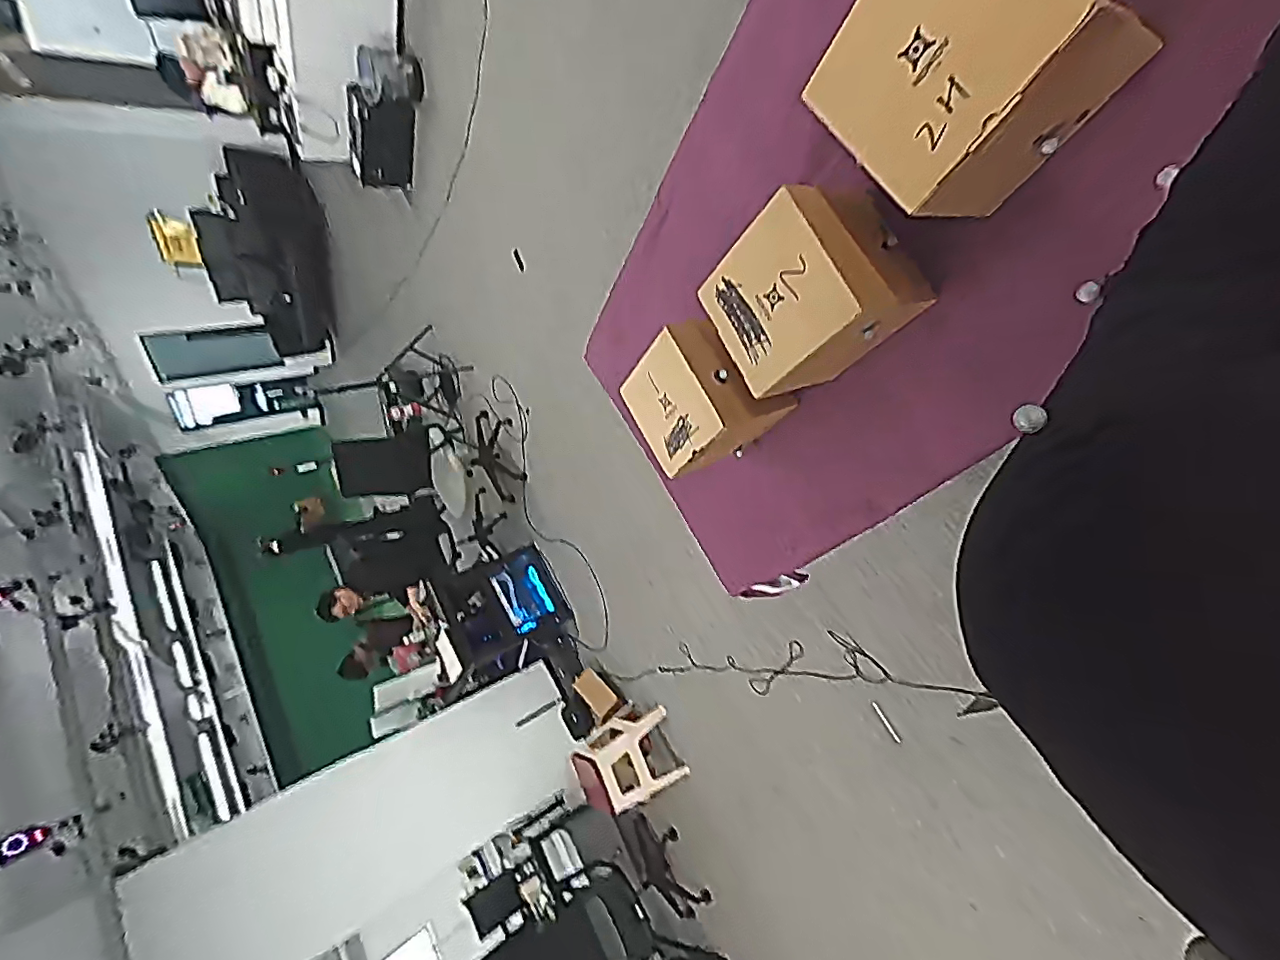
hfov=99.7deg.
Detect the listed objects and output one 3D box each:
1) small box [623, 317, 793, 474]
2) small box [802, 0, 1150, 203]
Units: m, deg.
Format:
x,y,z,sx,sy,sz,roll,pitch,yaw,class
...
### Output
x,y,z,sx,sy,sz,roll,pitch,yaw,class
0.107,-0.137,0.859,0.179,0.176,0.168,62,144,12,small box
0.291,-0.374,0.486,0.179,0.176,0.168,60,145,16,small box
